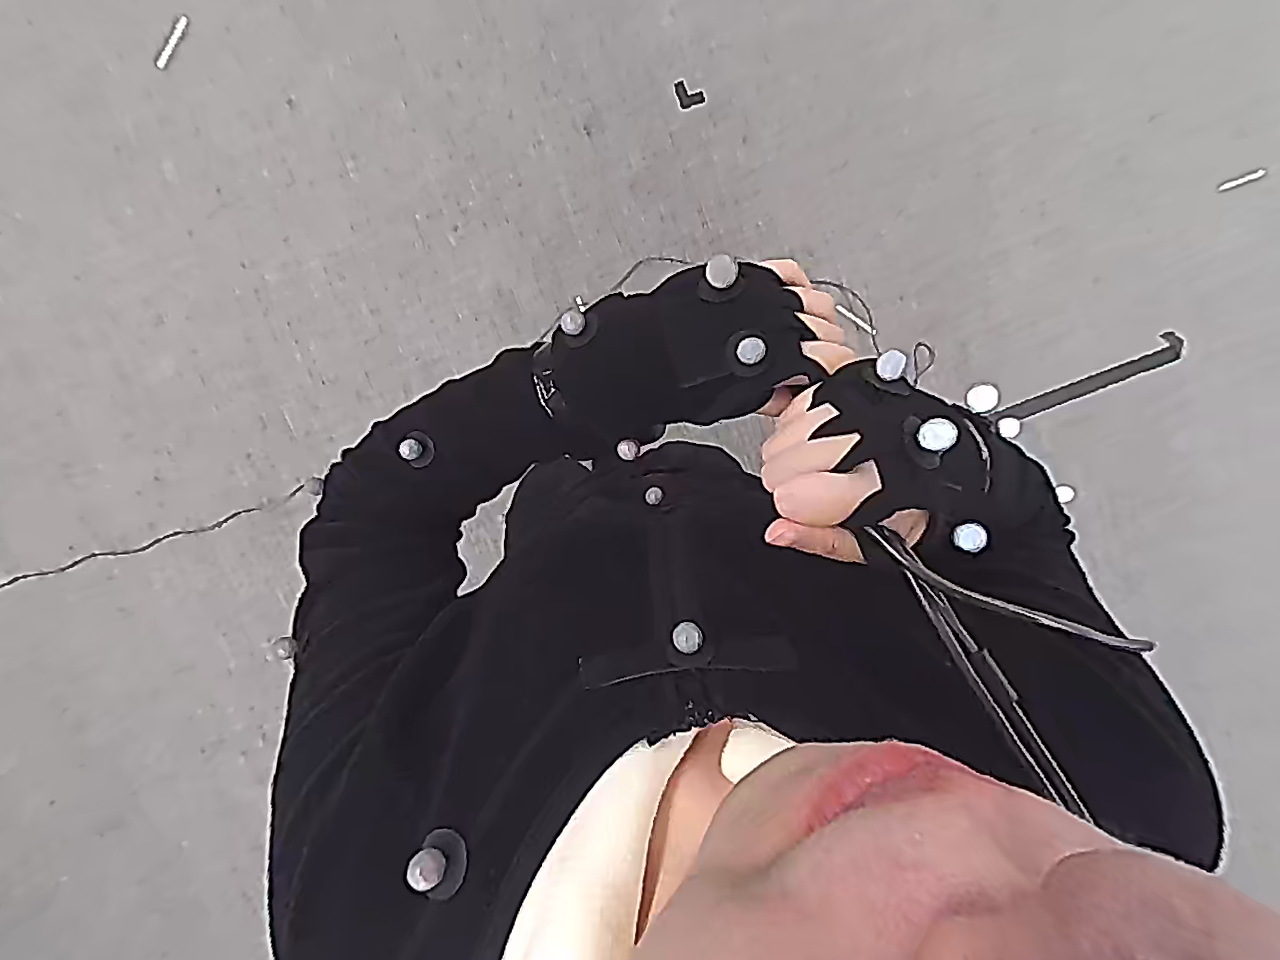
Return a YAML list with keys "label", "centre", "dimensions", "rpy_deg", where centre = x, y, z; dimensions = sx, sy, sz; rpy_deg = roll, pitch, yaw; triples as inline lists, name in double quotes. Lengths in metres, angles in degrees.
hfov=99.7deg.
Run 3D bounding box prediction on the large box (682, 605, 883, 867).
- label: "large box"
  centre: [0.302, 0.549, 1.234]
  dimensions: [0.320, 0.320, 0.408]
  rpy_deg: [-11, 96, -5]
